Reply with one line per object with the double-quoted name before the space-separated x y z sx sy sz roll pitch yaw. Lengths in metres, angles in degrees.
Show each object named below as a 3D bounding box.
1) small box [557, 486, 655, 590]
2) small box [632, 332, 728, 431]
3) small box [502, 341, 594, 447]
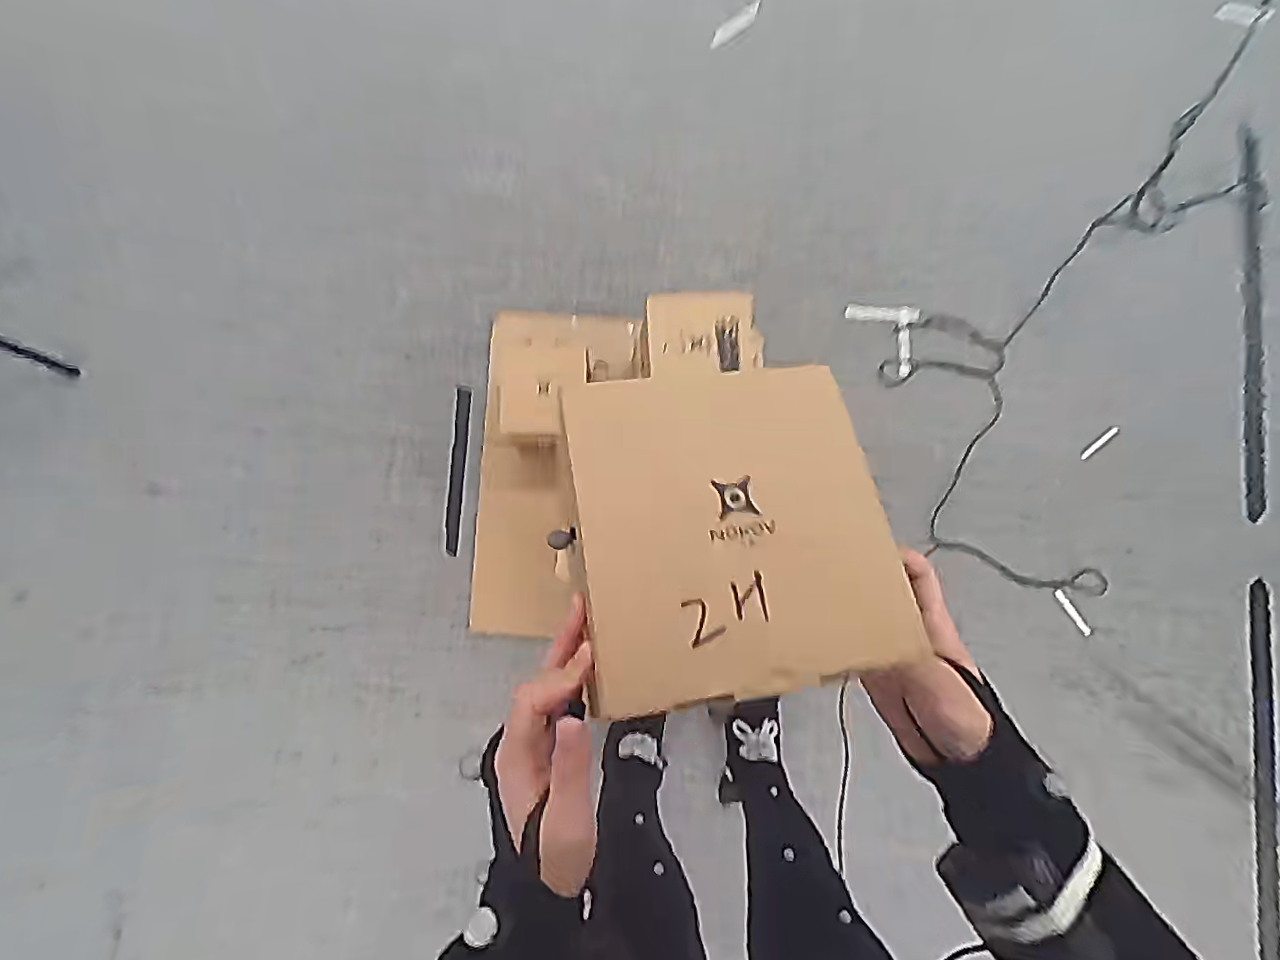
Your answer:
"small box" -0.068 0.114 1.077 0.168 0.176 0.179 7 85 -3
"small box" 0.076 -0.197 1.117 0.179 0.176 0.168 -1 84 -3
"small box" -0.181 -0.170 1.100 0.168 0.176 0.179 -2 84 -1
